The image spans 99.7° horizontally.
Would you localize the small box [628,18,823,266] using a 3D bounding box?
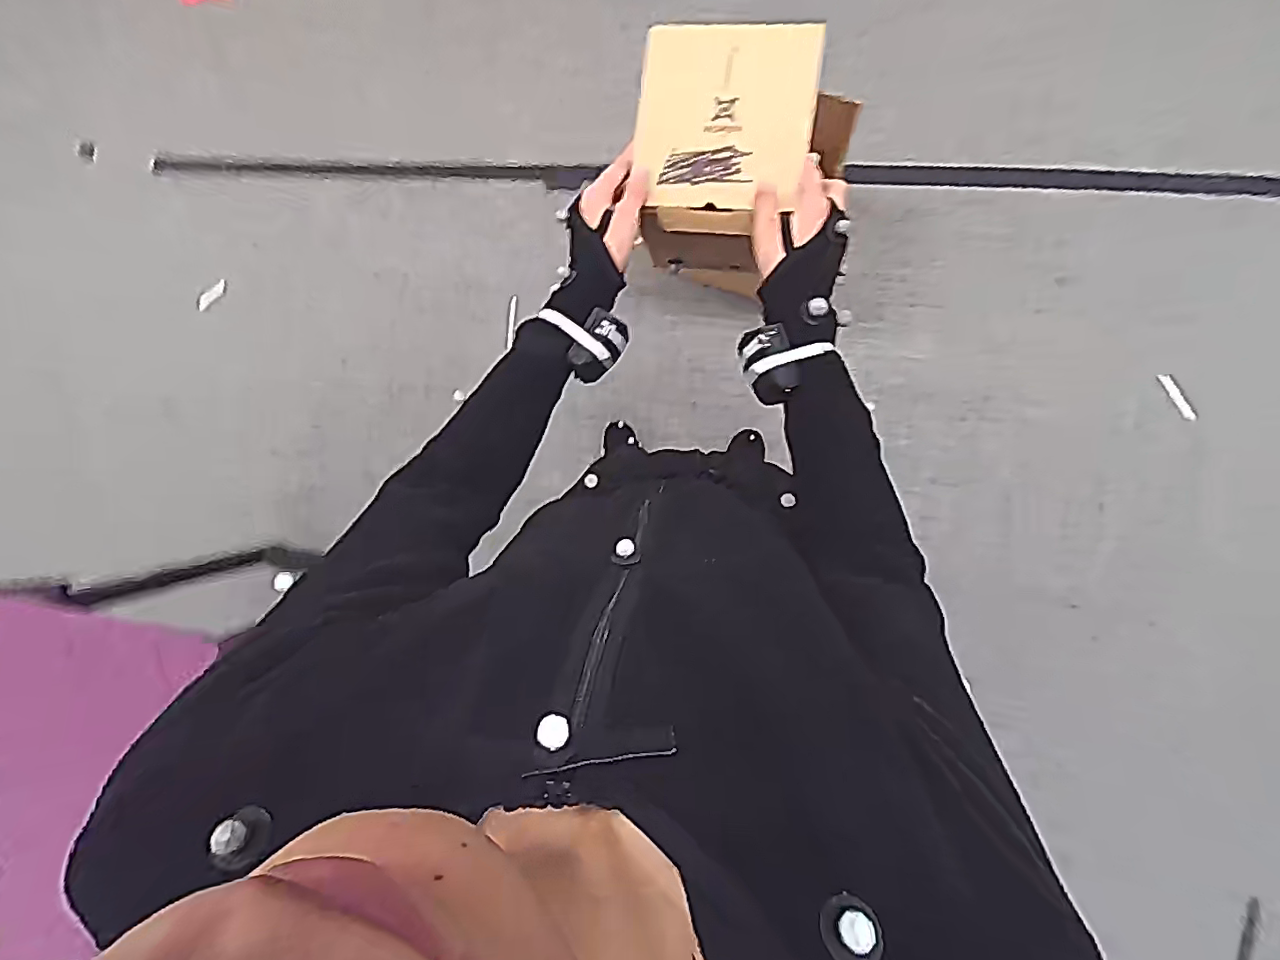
[{"bbox_3d":[0.092,-0.350,0.591,0.168,0.176,0.179,8,93,10],"label":"small box"}]
